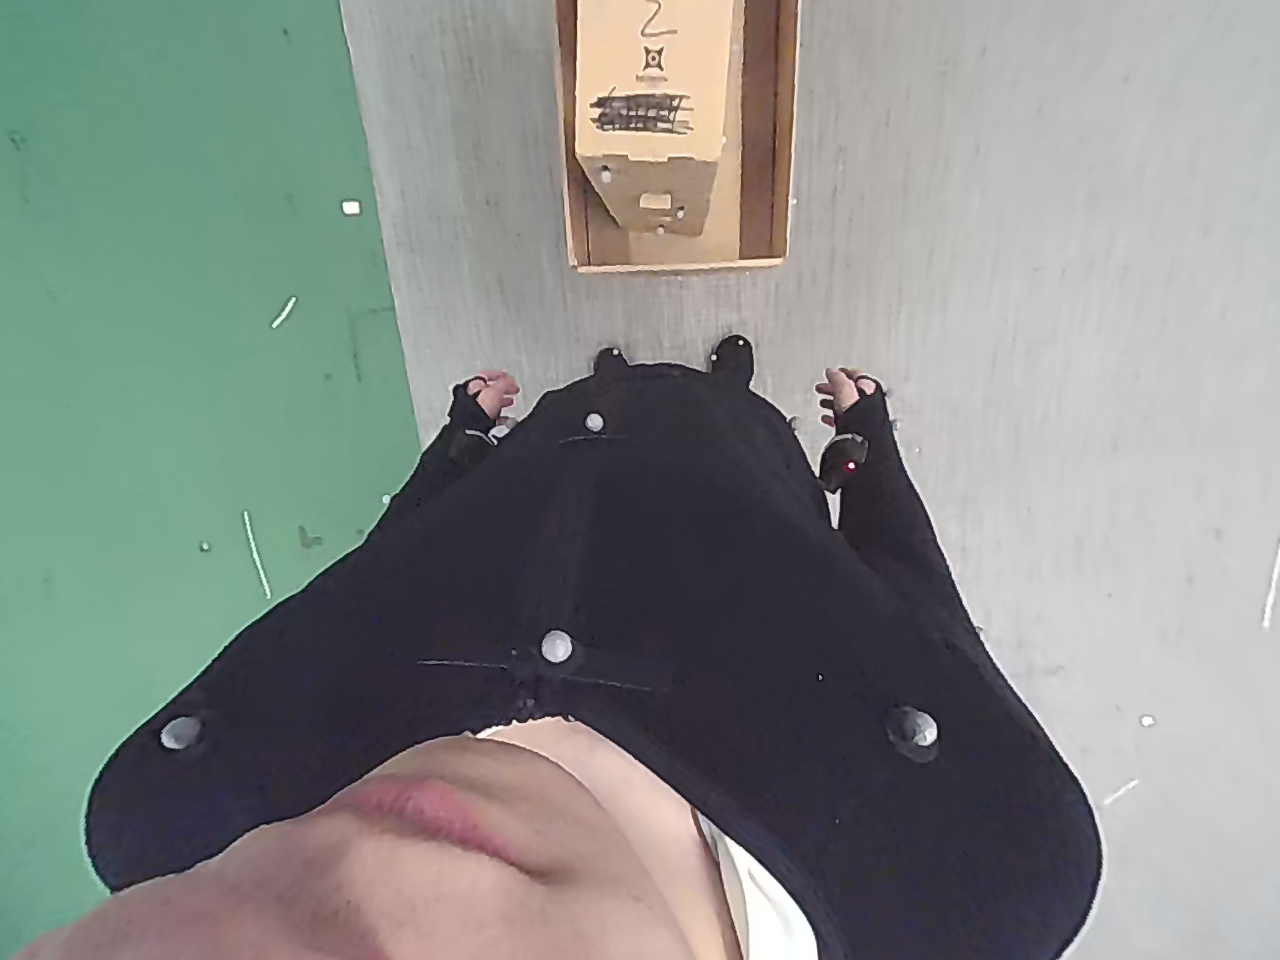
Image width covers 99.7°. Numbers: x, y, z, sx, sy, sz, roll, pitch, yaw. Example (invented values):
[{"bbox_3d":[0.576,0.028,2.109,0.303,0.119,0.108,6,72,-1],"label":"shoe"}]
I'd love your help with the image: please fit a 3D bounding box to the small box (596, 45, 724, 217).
[{"bbox_3d":[0.030,-0.508,0.813,0.168,0.176,0.179,5,105,2],"label":"small box"}]
